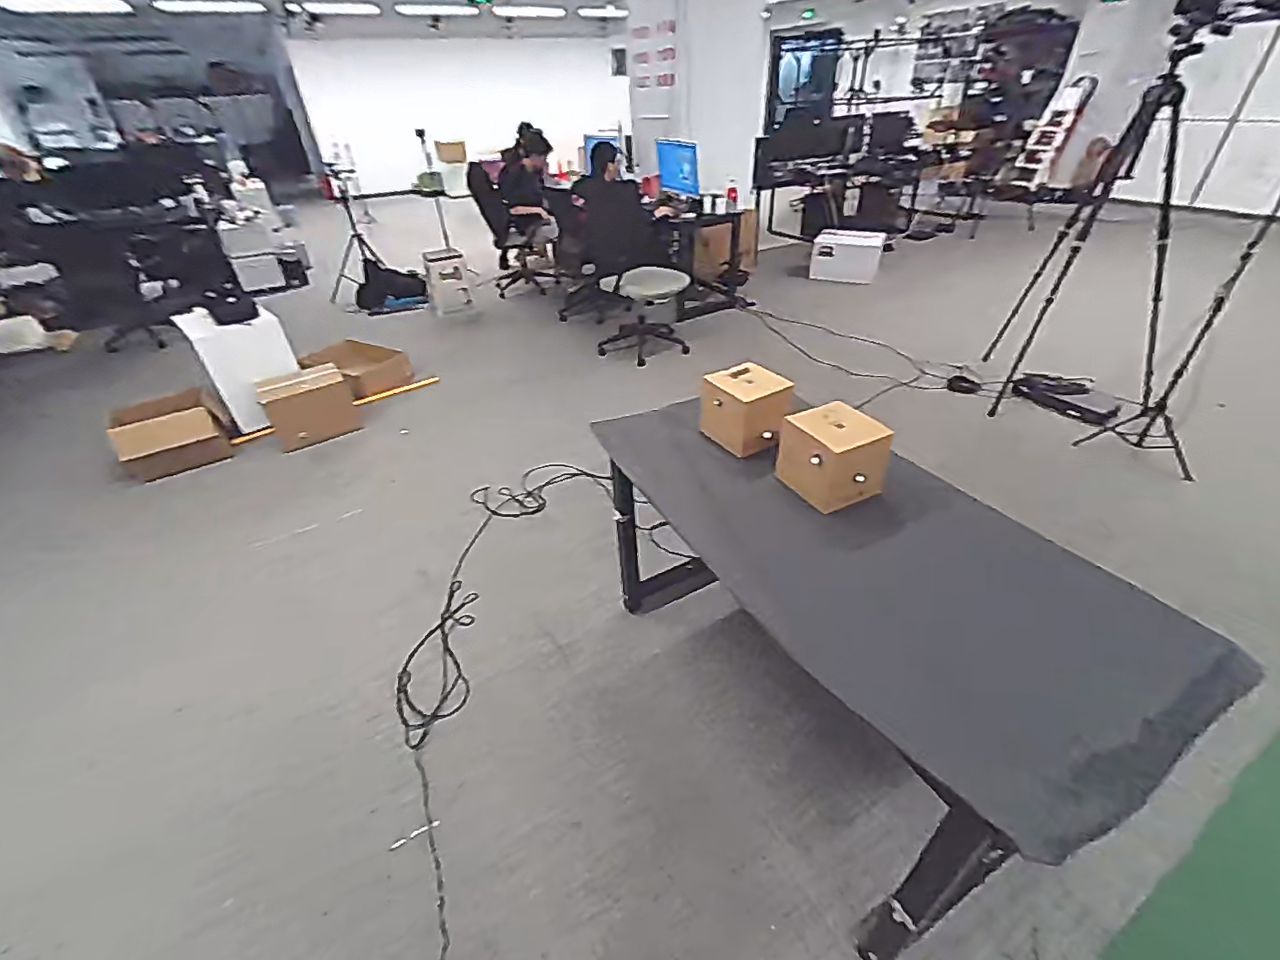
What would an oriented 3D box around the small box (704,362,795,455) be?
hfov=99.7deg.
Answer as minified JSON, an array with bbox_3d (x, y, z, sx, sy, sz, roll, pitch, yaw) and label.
[{"bbox_3d":[0.282,-0.190,1.439,0.168,0.176,0.179,-22,41,-24],"label":"small box"}]

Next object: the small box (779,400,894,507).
[{"bbox_3d":[0.441,-0.056,1.240,0.168,0.176,0.179,-18,38,-20],"label":"small box"}]
